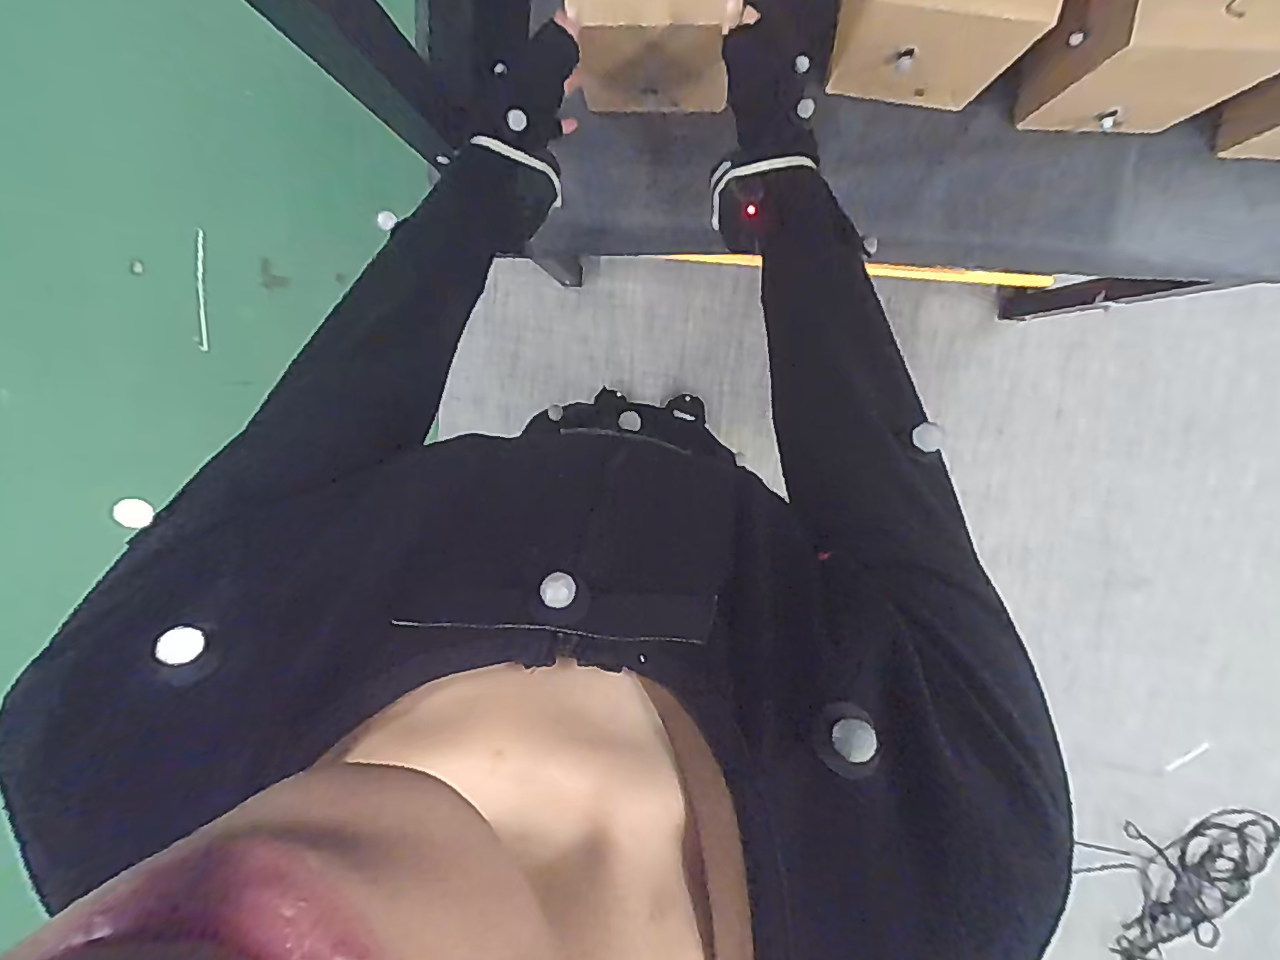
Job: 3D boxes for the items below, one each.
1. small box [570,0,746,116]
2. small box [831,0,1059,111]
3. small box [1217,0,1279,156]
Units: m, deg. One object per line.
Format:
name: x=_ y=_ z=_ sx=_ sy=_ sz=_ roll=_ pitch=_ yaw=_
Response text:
small box: x=0.021 y=-0.517 z=0.564 sx=0.168 sy=0.176 sz=0.179 roll=2 pitch=102 yaw=2
small box: x=0.310 y=-0.516 z=0.553 sx=0.168 sy=0.176 sz=0.179 roll=9 pitch=101 yaw=2
small box: x=0.752 y=-0.441 z=0.540 sx=0.168 sy=0.176 sz=0.179 roll=3 pitch=100 yaw=2
